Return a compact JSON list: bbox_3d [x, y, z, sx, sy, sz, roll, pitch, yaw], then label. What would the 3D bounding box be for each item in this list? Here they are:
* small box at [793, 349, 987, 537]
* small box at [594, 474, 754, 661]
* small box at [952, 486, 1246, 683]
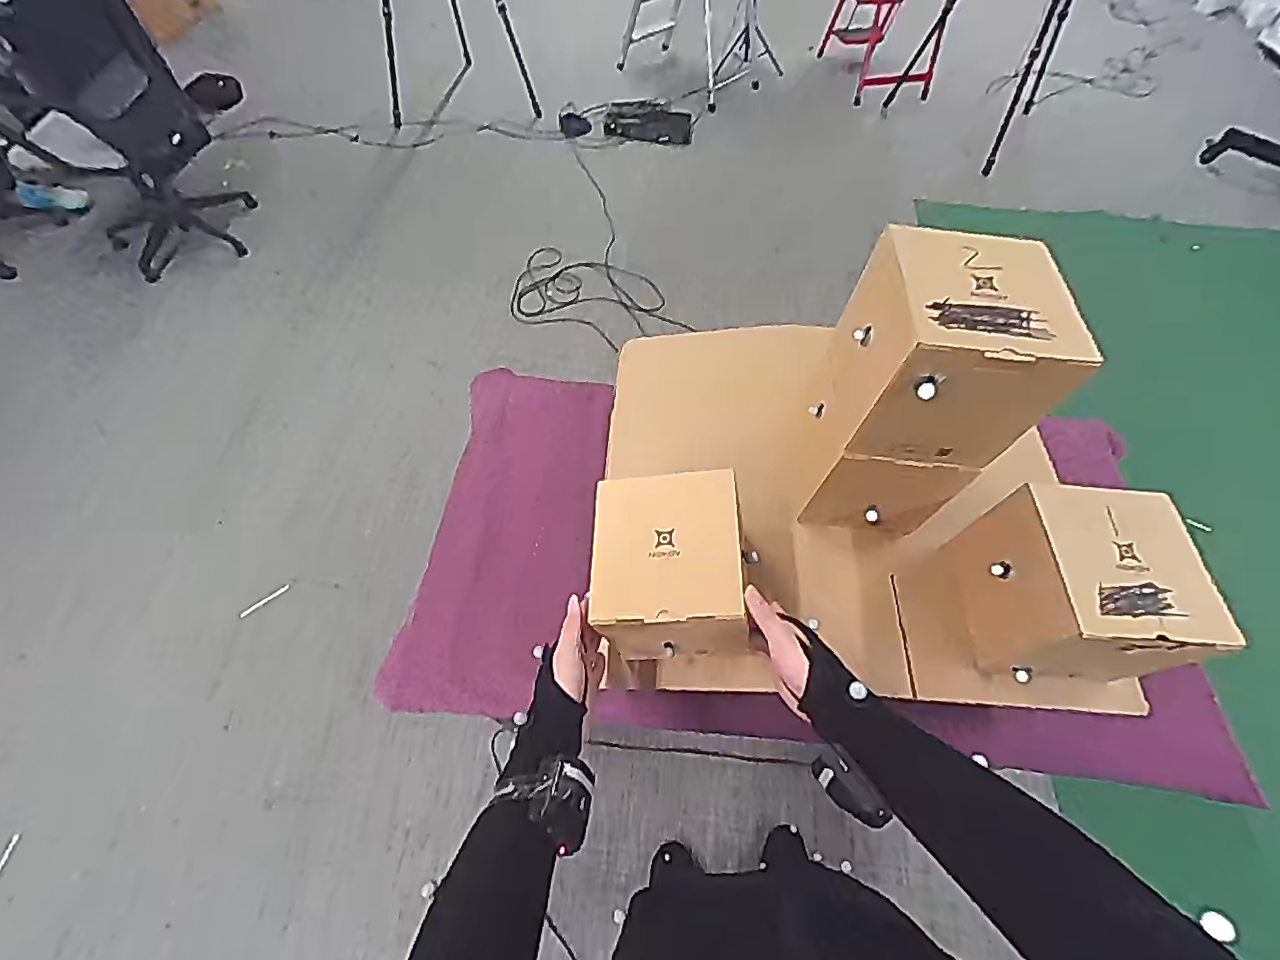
[{"bbox_3d":[0.310,-0.045,0.717,0.168,0.176,0.179,5,58,-1],"label":"small box"},{"bbox_3d":[0.049,0.113,0.659,0.168,0.176,0.179,-5,60,11],"label":"small box"},{"bbox_3d":[0.503,0.128,0.629,0.168,0.176,0.179,5,58,-2],"label":"small box"}]
